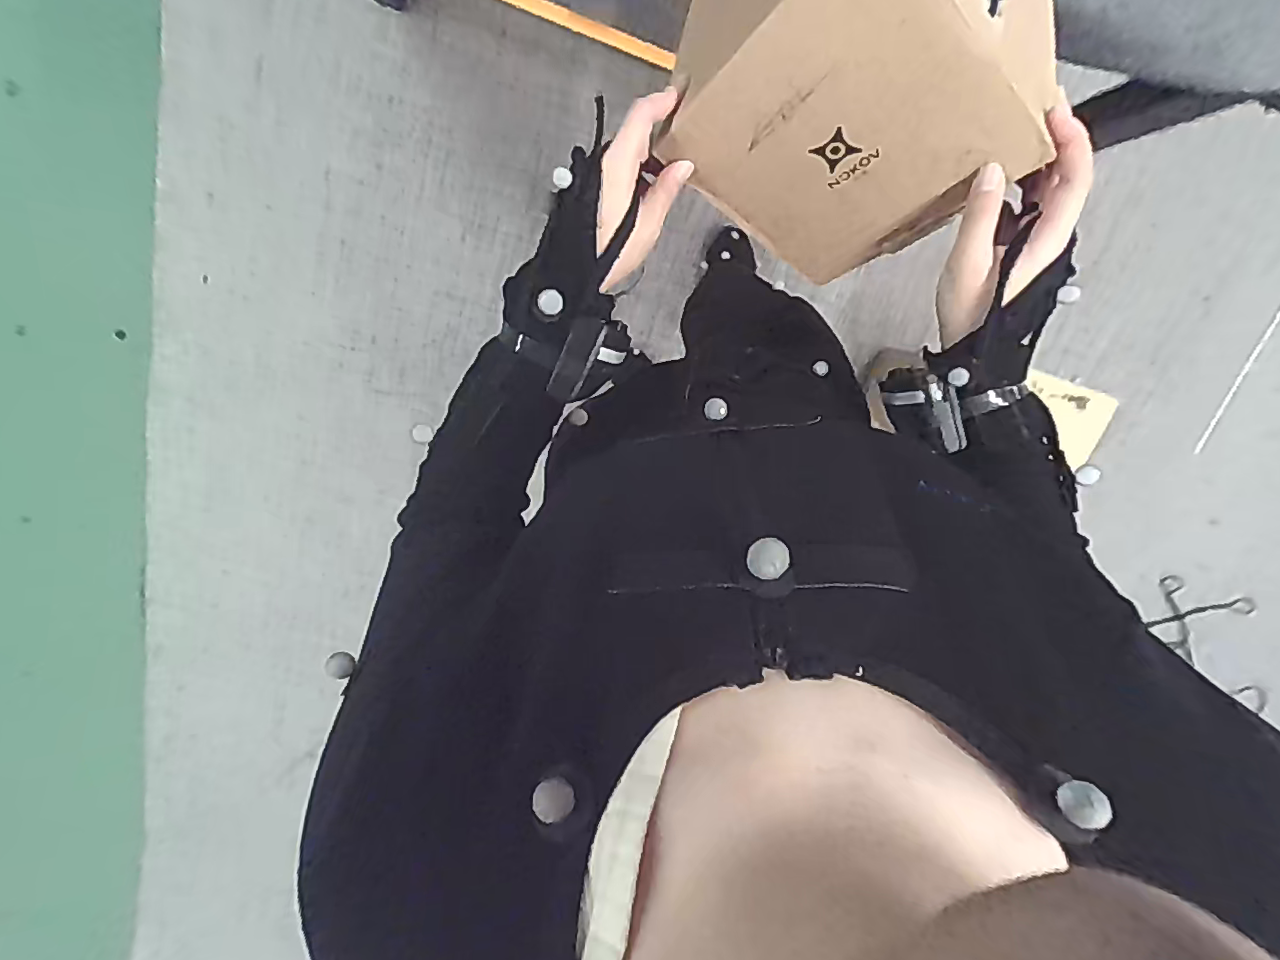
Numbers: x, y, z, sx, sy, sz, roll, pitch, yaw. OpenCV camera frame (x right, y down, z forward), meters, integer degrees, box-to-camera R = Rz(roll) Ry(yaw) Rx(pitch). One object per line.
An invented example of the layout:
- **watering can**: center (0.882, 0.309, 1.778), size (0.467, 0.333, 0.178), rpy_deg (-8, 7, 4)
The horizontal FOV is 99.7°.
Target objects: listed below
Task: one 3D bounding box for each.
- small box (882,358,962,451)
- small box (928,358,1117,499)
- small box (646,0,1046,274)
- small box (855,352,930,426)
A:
- **small box**: center (0.621, -0.139, 1.078), size (0.179, 0.176, 0.168), rpy_deg (15, 107, -7)
- **small box**: center (0.629, -0.094, 0.921), size (0.168, 0.176, 0.179), rpy_deg (17, 107, -7)
- **small box**: center (0.132, -0.281, 0.353), size (0.179, 0.168, 0.176), rpy_deg (23, 67, -28)
- **small box**: center (0.631, -0.188, 1.235), size (0.179, 0.176, 0.168), rpy_deg (18, 105, -6)
